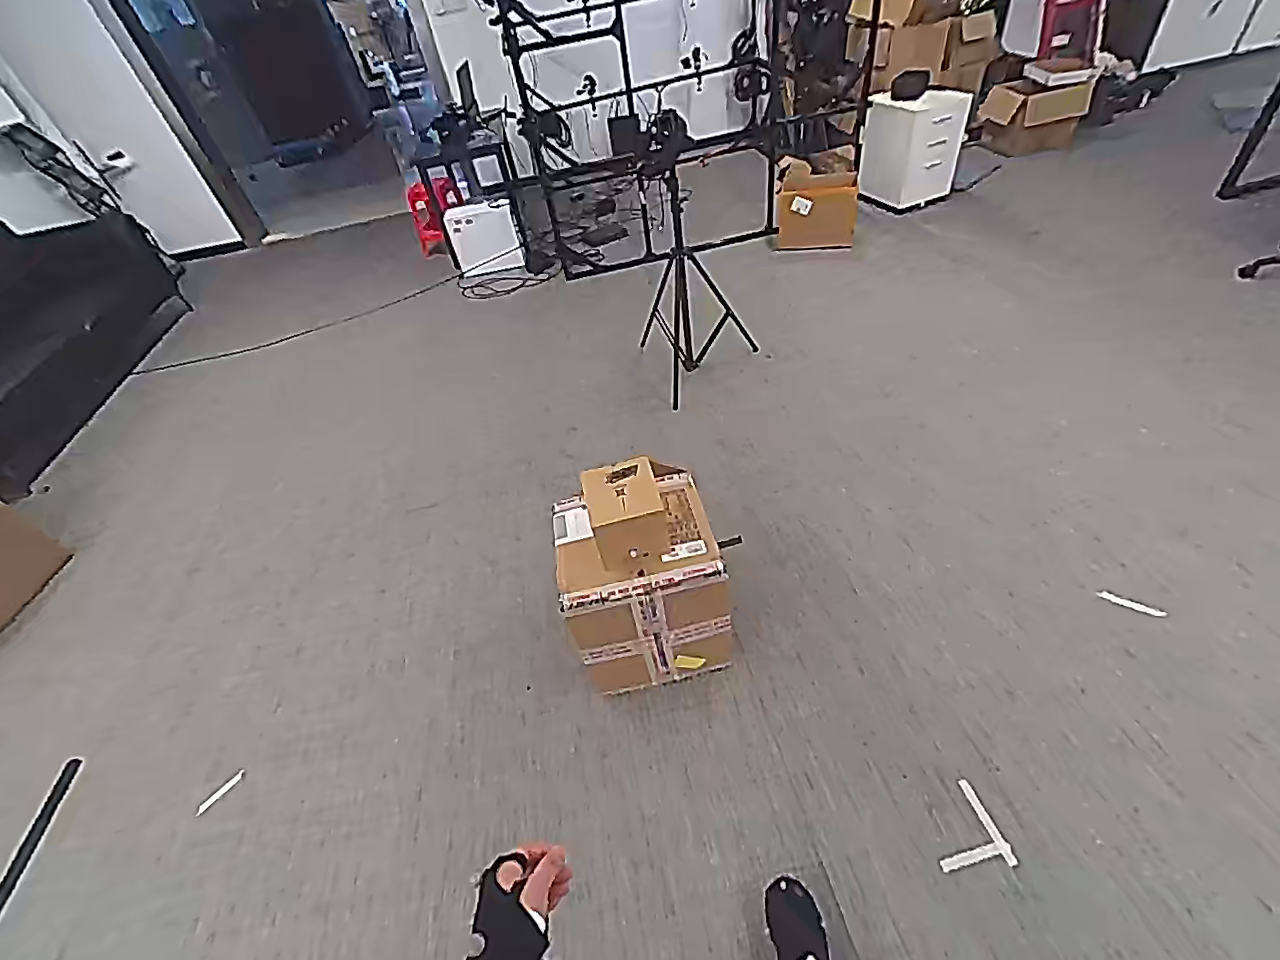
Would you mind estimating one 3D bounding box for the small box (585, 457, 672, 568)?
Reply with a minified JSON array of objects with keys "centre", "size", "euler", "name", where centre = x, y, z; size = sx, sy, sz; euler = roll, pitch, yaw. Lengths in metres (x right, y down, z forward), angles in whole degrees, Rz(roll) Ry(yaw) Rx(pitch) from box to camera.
[{"centre":[-0.026,0.079,1.272],"size":[0.168,0.176,0.179],"euler":[-14,47,-2],"name":"small box"}]
